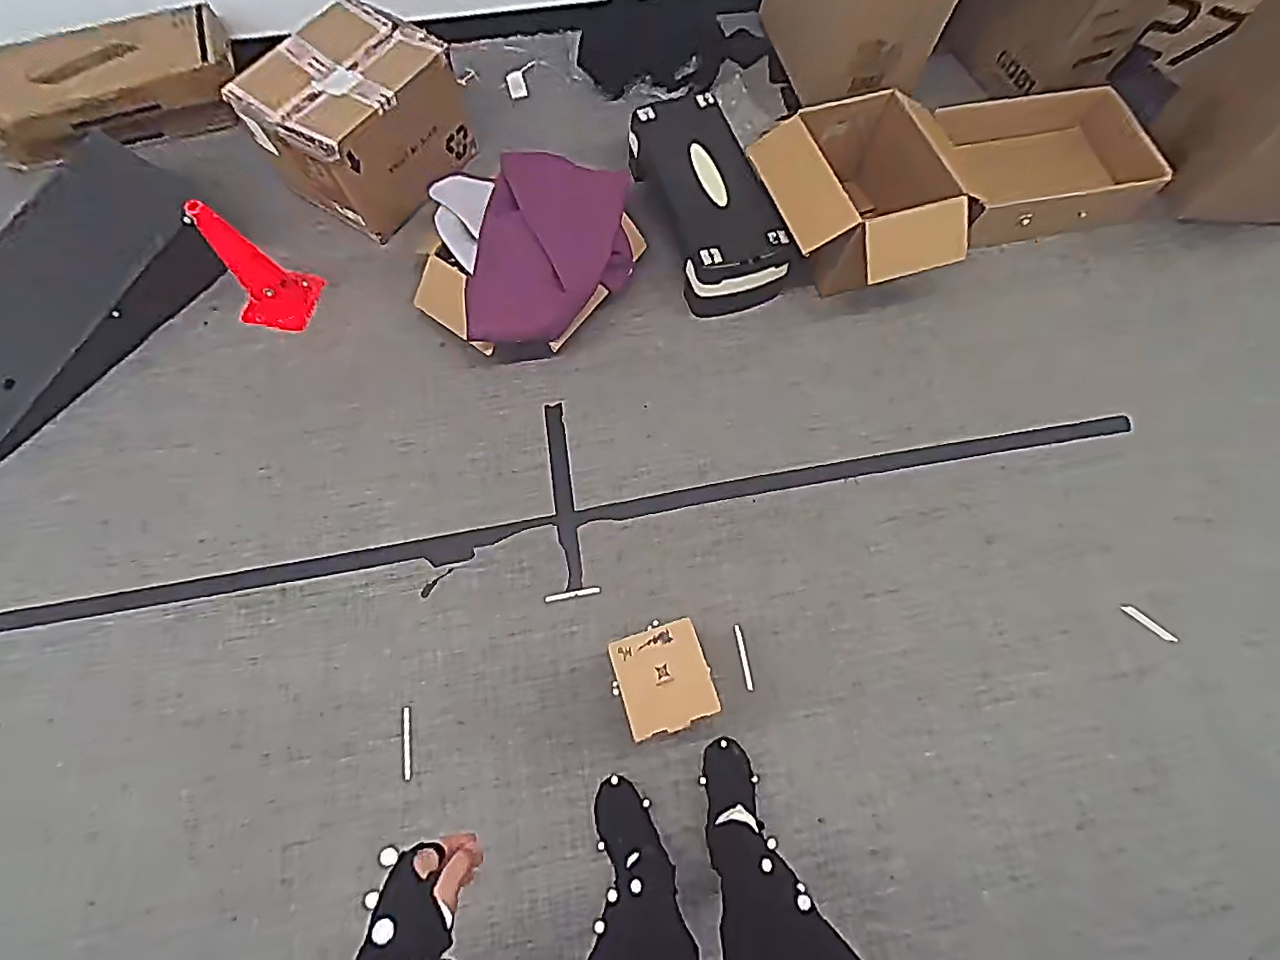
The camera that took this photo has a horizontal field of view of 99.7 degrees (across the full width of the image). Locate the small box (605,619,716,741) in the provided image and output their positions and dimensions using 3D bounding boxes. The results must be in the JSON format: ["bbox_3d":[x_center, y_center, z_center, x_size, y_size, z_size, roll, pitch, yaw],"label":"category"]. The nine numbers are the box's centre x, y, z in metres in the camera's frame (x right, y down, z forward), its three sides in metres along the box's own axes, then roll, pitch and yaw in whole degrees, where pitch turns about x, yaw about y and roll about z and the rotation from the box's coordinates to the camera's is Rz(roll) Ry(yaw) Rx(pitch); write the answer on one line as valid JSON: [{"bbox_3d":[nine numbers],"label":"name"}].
[{"bbox_3d":[0.035,0.384,1.055,0.168,0.176,0.179,-16,72,-6],"label":"small box"}]
